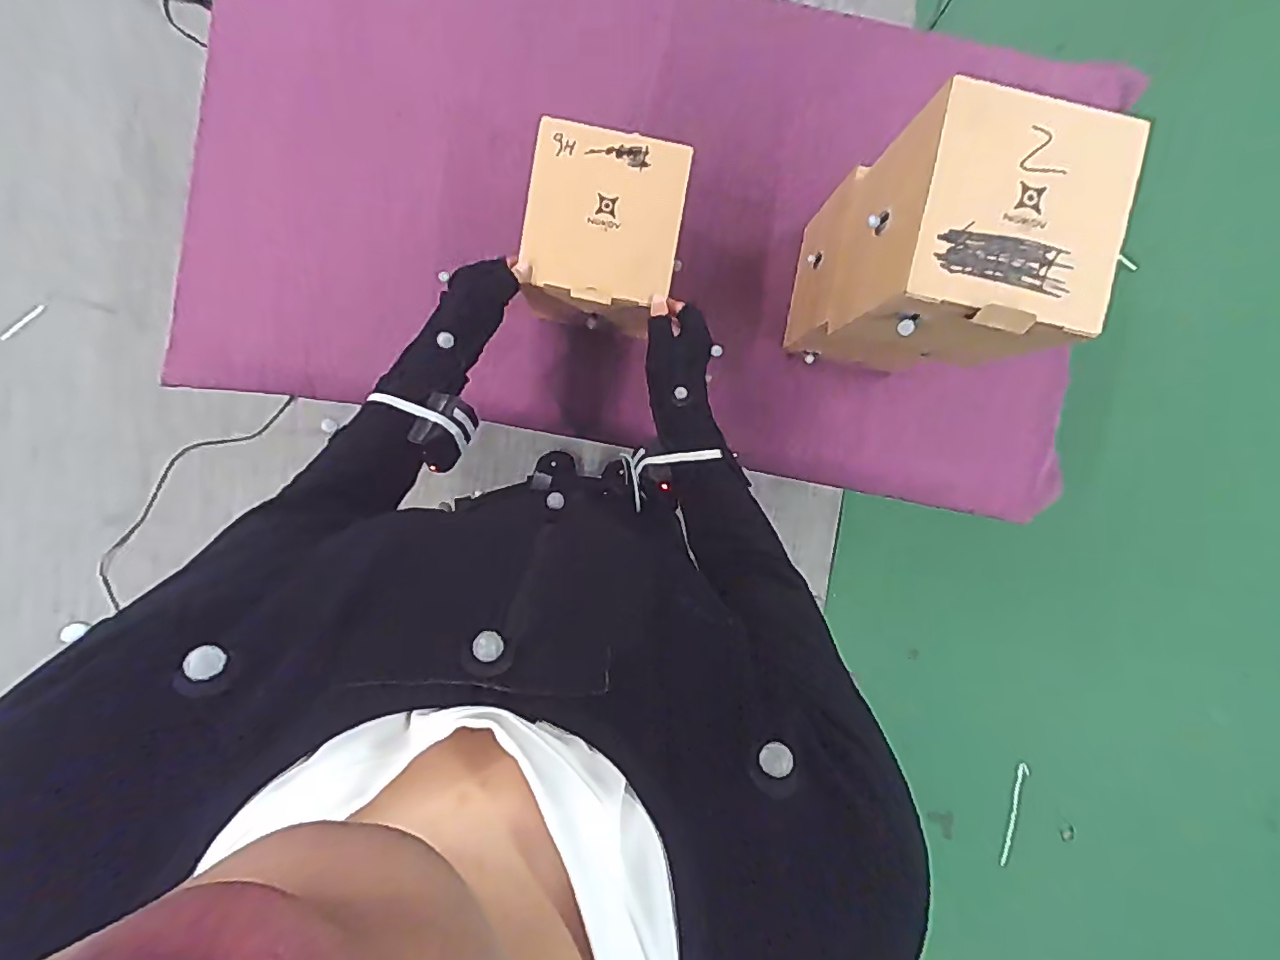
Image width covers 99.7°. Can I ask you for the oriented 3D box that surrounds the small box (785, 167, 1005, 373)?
[{"bbox_3d":[0.295,-0.240,0.668,0.168,0.176,0.179,14,94,-5],"label":"small box"}]

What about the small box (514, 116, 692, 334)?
[{"bbox_3d":[-0.043,-0.286,0.651,0.168,0.176,0.179,10,94,-4],"label":"small box"}]
